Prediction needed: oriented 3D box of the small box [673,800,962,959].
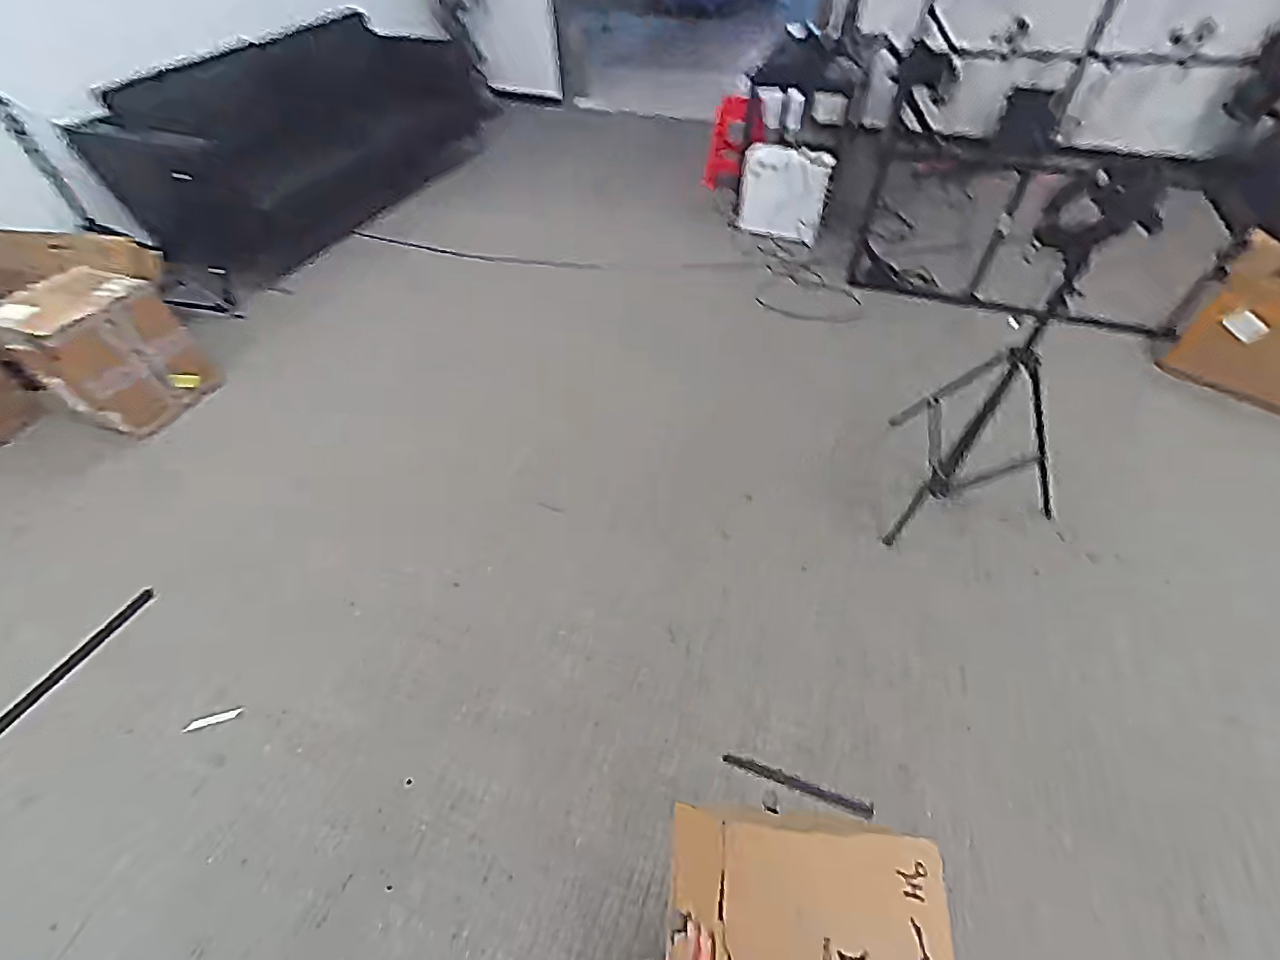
[{"bbox_3d":[0.126,0.363,0.434,0.179,0.176,0.168,8,63,-6],"label":"small box"}]
